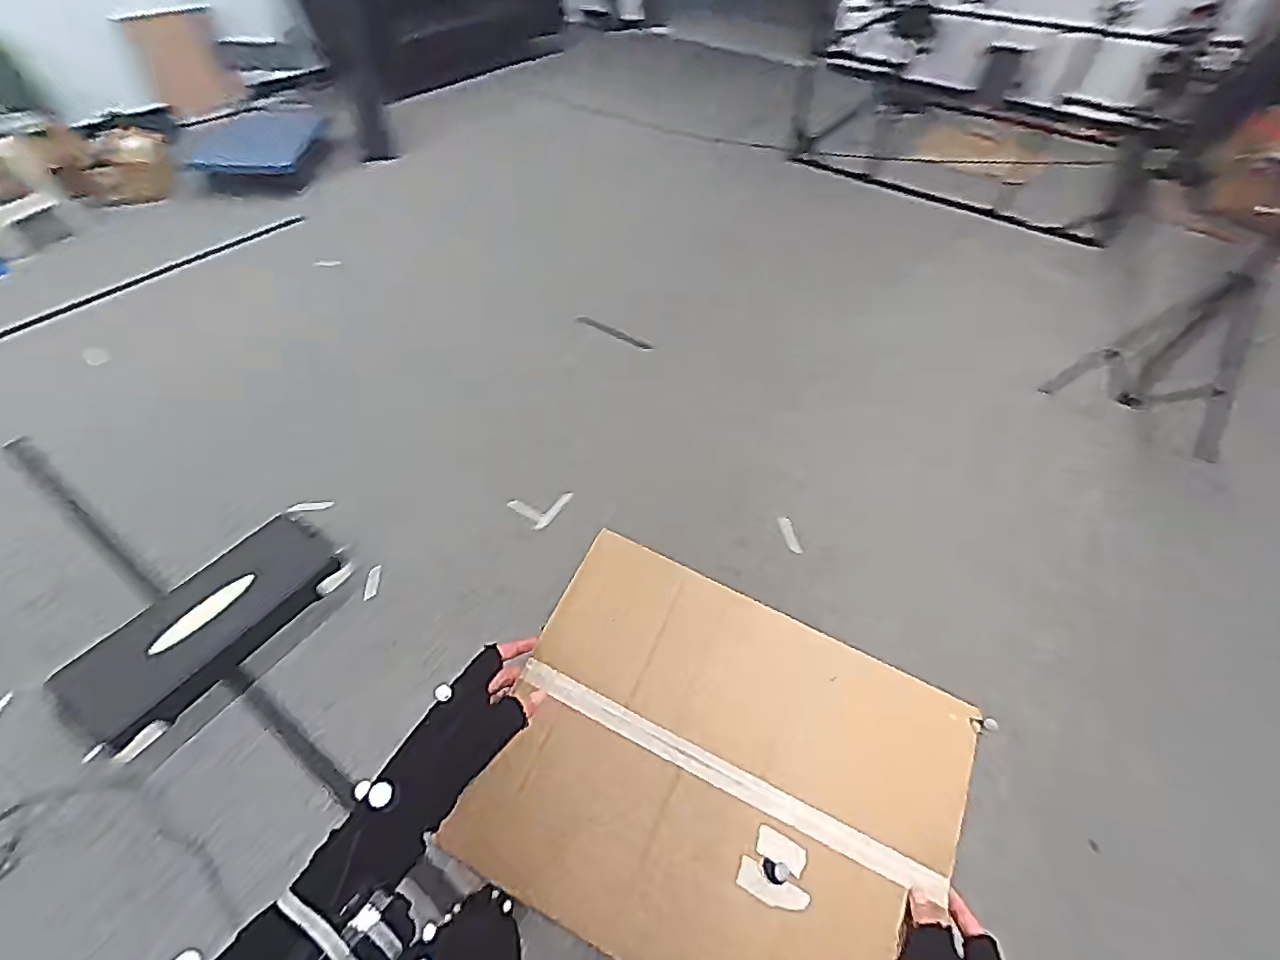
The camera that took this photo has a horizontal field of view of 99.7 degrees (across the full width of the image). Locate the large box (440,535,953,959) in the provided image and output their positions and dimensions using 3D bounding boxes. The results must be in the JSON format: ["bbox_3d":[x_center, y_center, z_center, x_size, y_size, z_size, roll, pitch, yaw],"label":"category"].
[{"bbox_3d":[0.058,0.319,0.628,0.408,0.320,0.320,24,66,8],"label":"large box"}]
